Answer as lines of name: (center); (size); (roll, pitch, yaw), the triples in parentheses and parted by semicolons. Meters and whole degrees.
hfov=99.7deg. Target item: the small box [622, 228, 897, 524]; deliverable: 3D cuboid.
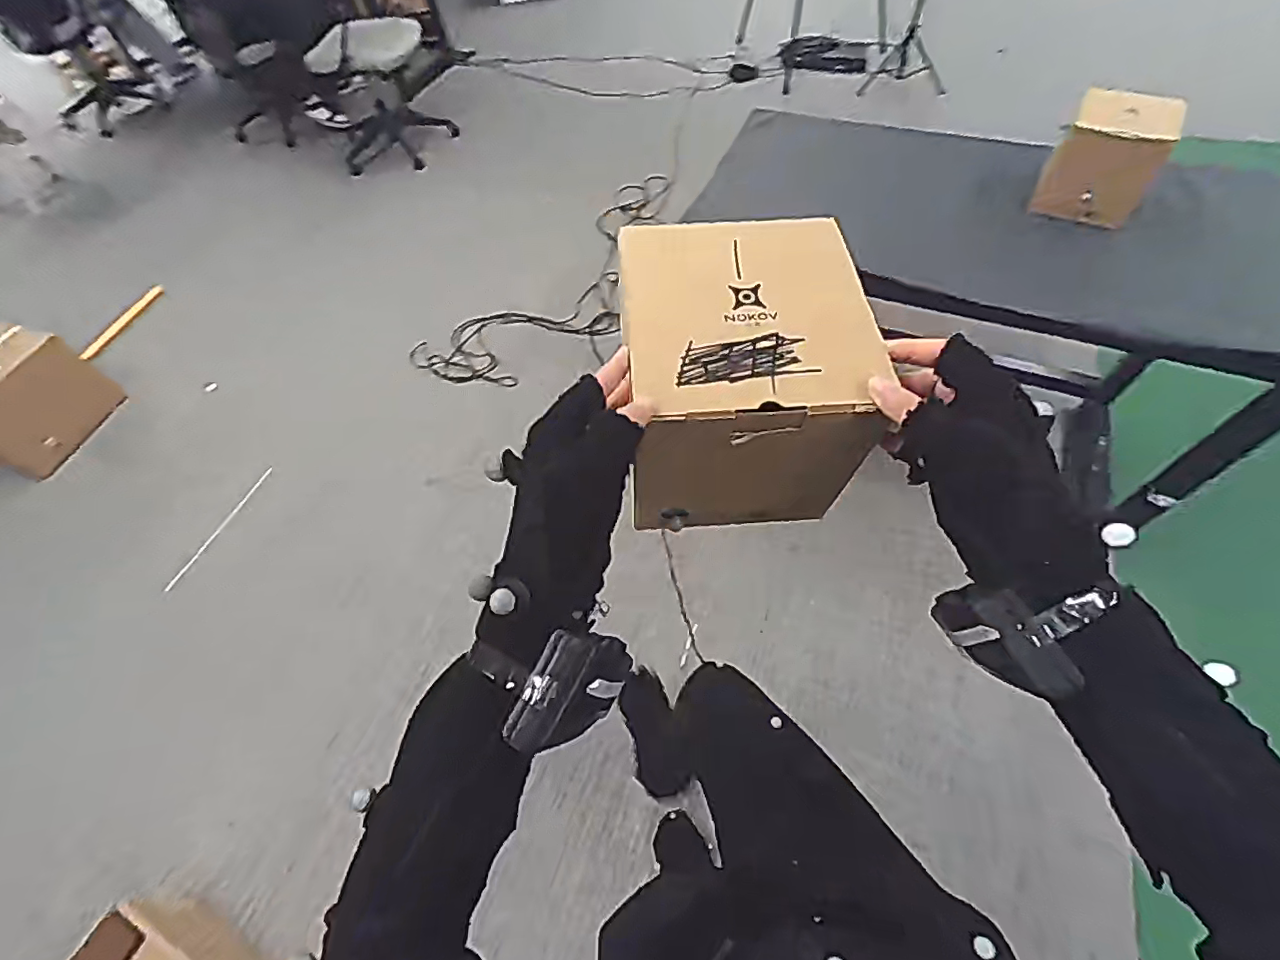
small box: (0.074, -0.072, 0.438); (0.168, 0.176, 0.179); (-3, 60, -1)

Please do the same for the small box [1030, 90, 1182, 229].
small box: (0.920, -0.638, 1.079); (0.168, 0.176, 0.179); (24, 63, 21)
